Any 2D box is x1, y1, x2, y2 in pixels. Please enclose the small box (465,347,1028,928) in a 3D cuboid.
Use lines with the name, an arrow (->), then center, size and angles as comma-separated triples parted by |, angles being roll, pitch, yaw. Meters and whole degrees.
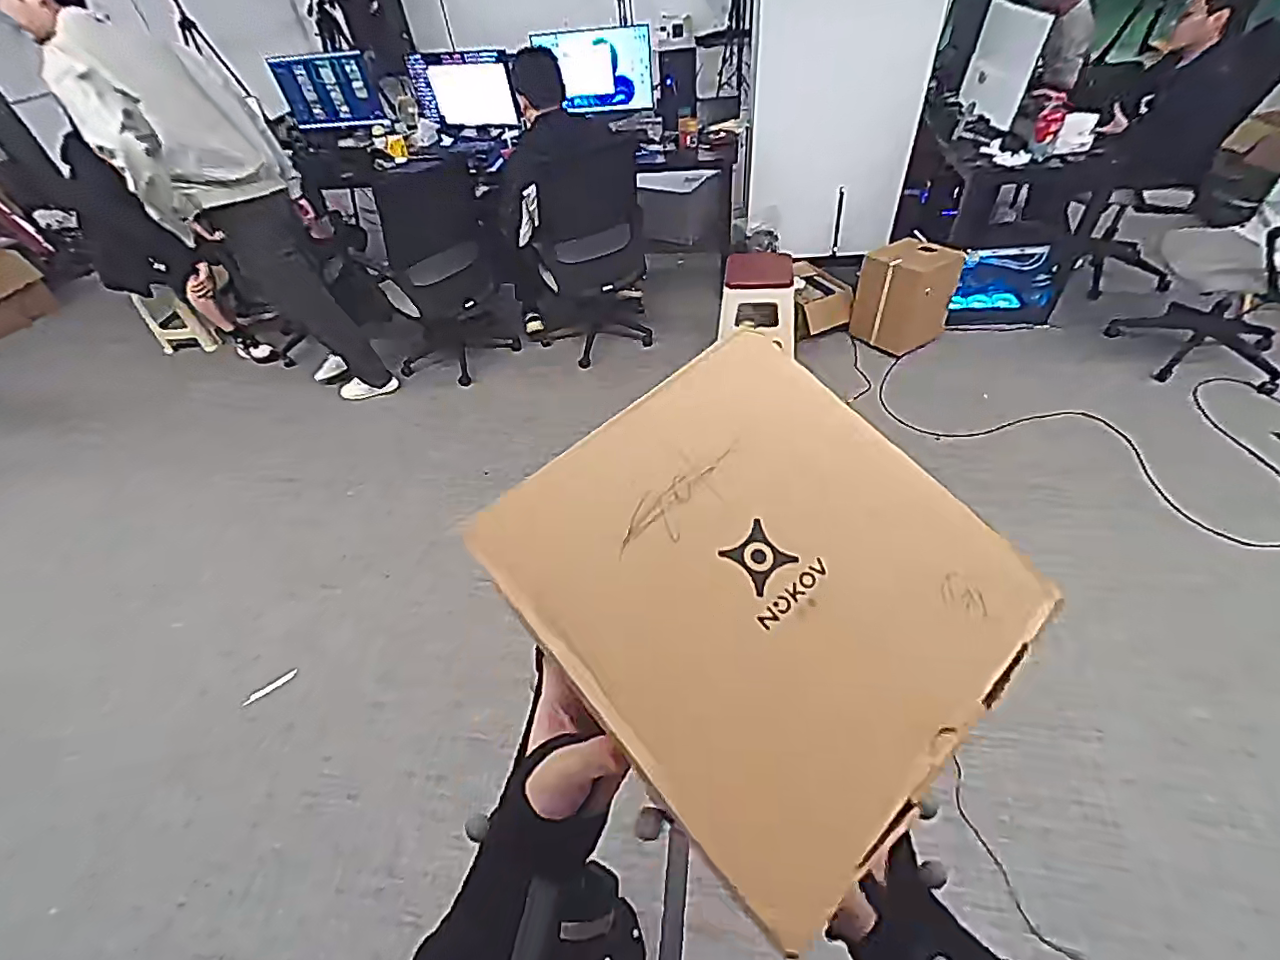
small box -> 0.041, 0.072, 0.293 | 0.168, 0.176, 0.179 | -41, 73, -20
